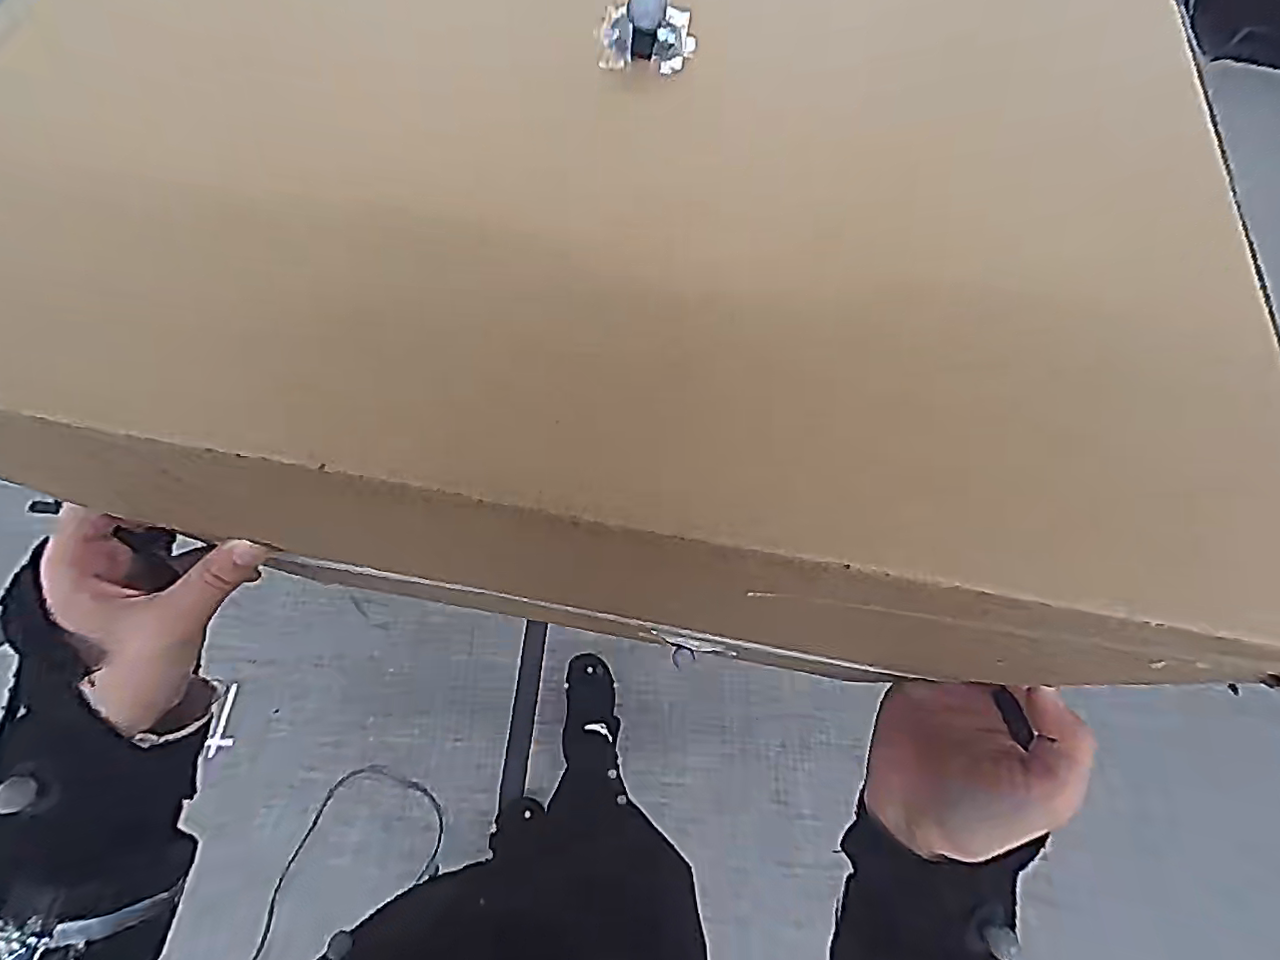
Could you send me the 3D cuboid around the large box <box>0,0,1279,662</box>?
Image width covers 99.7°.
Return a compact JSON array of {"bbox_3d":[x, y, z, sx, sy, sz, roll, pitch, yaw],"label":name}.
[{"bbox_3d":[-0.022,-0.090,0.318,0.408,0.320,0.320,9,71,0],"label":"large box"}]
